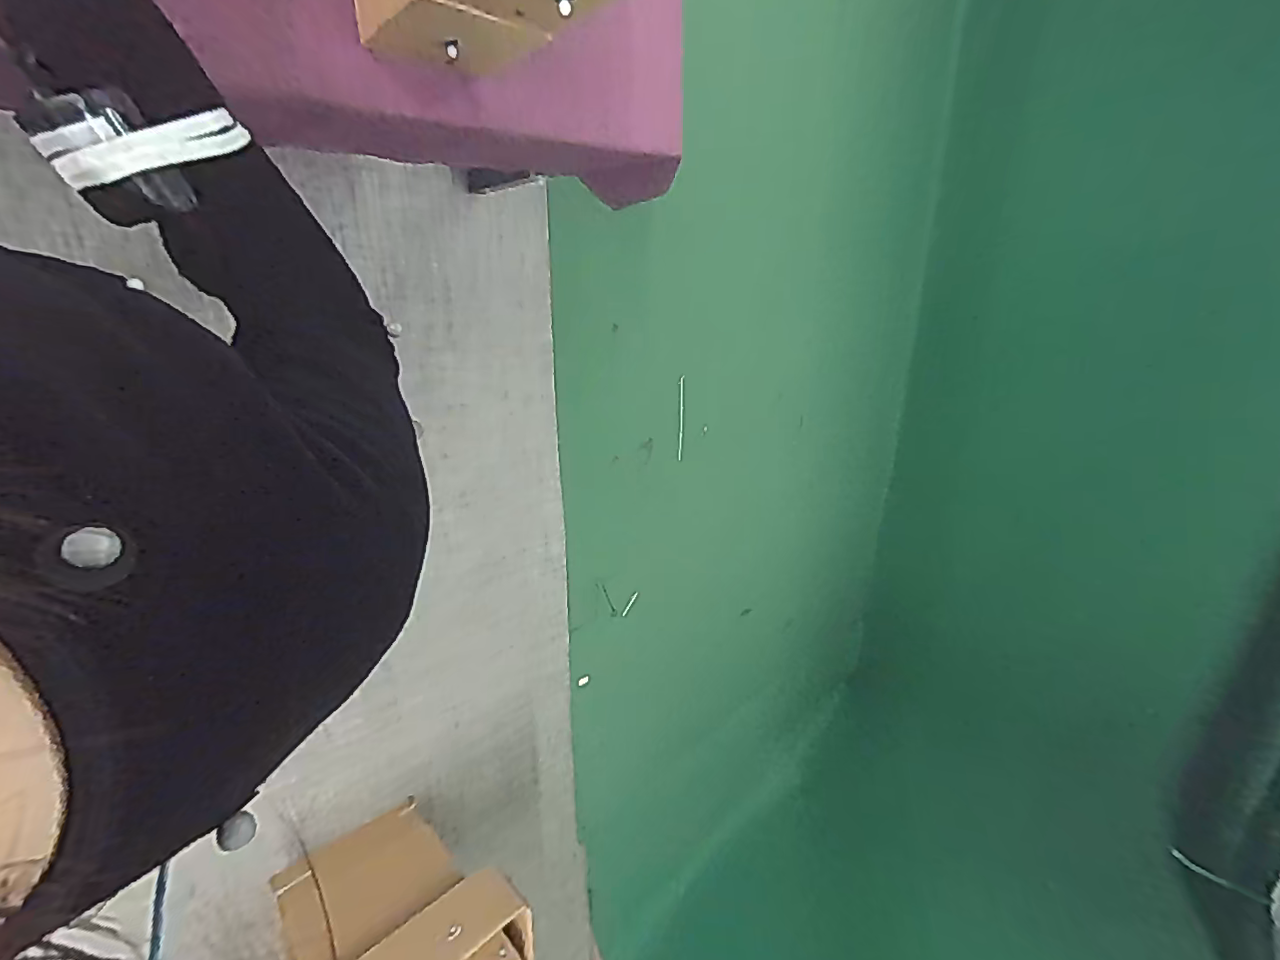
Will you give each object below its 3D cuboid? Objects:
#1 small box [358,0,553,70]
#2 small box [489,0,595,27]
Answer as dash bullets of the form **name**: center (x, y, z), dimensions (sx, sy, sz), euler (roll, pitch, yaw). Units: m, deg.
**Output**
- **small box**: center (-0.219, -0.604, 0.615), dimensions (0.168, 0.176, 0.179), euler (-20, 116, -41)
- **small box**: center (-0.106, -0.570, 0.502), dimensions (0.168, 0.176, 0.179), euler (-17, 115, -41)
